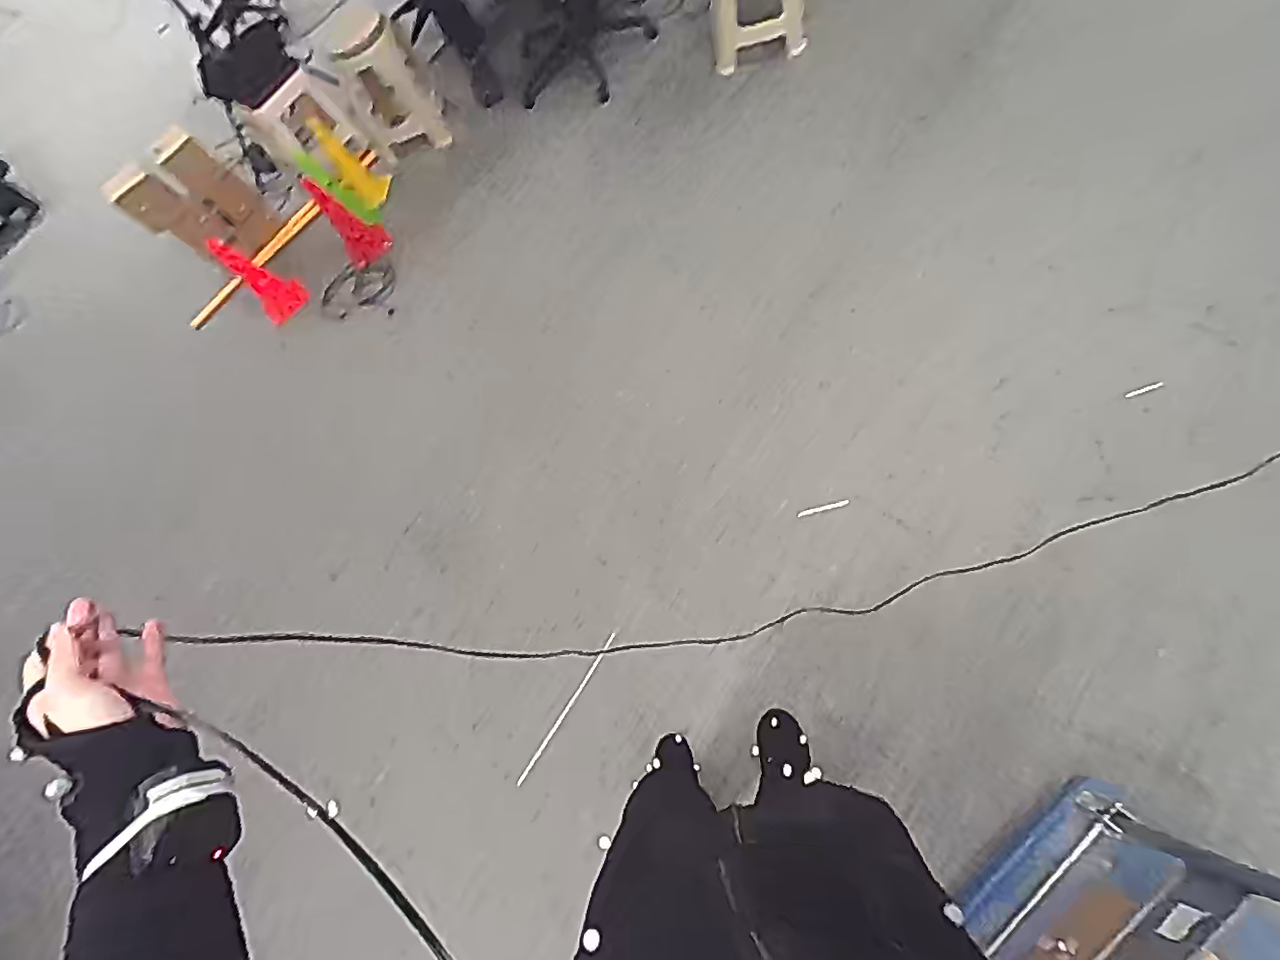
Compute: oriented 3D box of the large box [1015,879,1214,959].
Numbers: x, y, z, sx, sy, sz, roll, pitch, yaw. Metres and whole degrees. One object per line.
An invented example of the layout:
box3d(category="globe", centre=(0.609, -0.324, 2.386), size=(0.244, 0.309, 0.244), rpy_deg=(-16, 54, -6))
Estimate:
box3d(category="large box", centre=(0.824, 0.919, 0.790), size=(0.320, 0.320, 0.408), rpy_deg=(-45, 66, -4))
